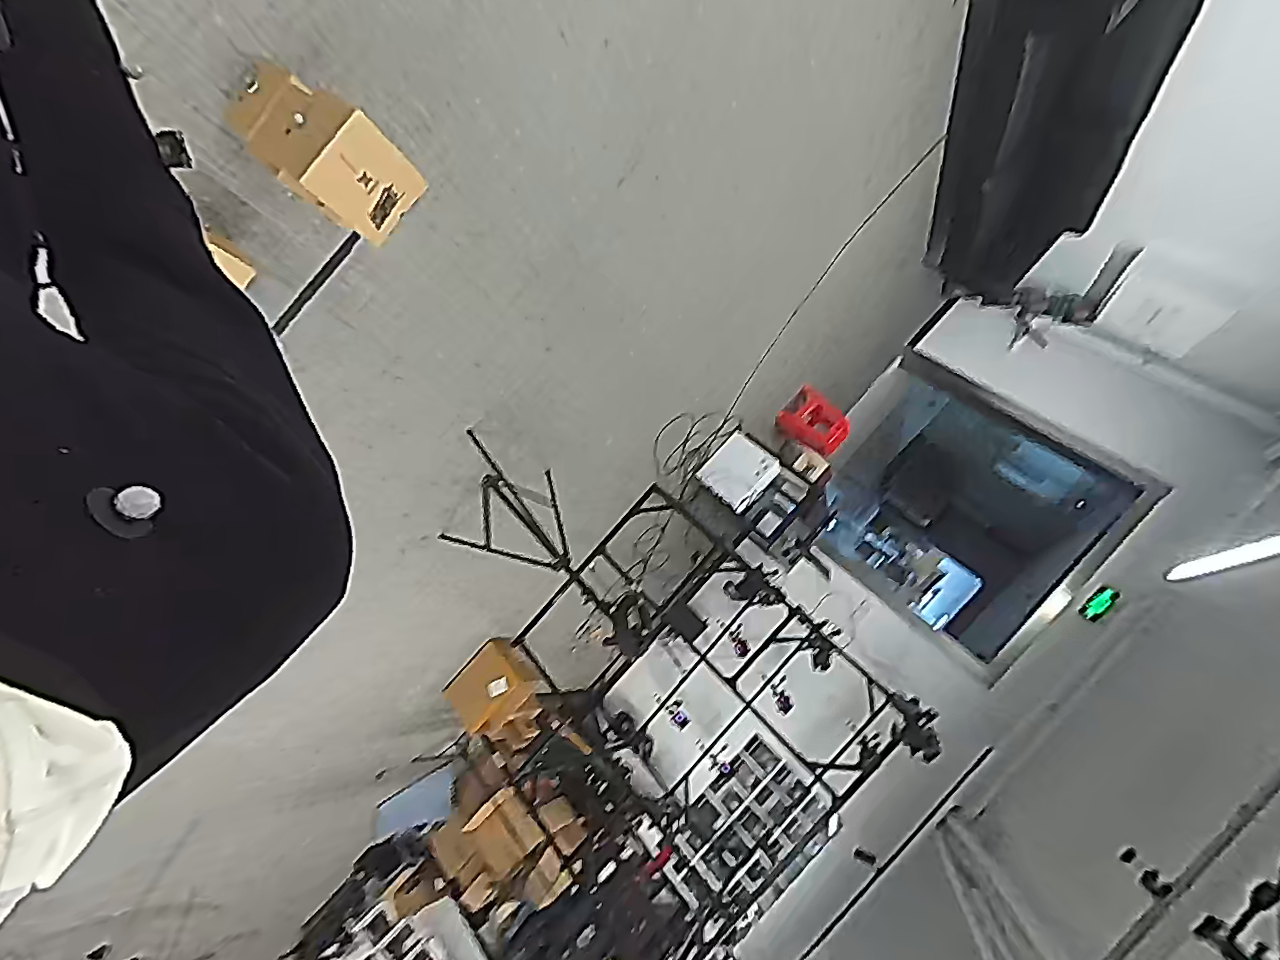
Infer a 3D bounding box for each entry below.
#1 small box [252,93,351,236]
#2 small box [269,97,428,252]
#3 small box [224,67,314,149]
[{"bbox_3d":[-0.667,-0.662,1.133,0.179,0.176,0.168,-52,153,4],"label":"small box"},{"bbox_3d":[-0.556,-0.585,1.036,0.168,0.176,0.179,-51,152,0],"label":"small box"},{"bbox_3d":[-0.769,-0.769,1.205,0.168,0.176,0.179,-51,152,3],"label":"small box"}]
